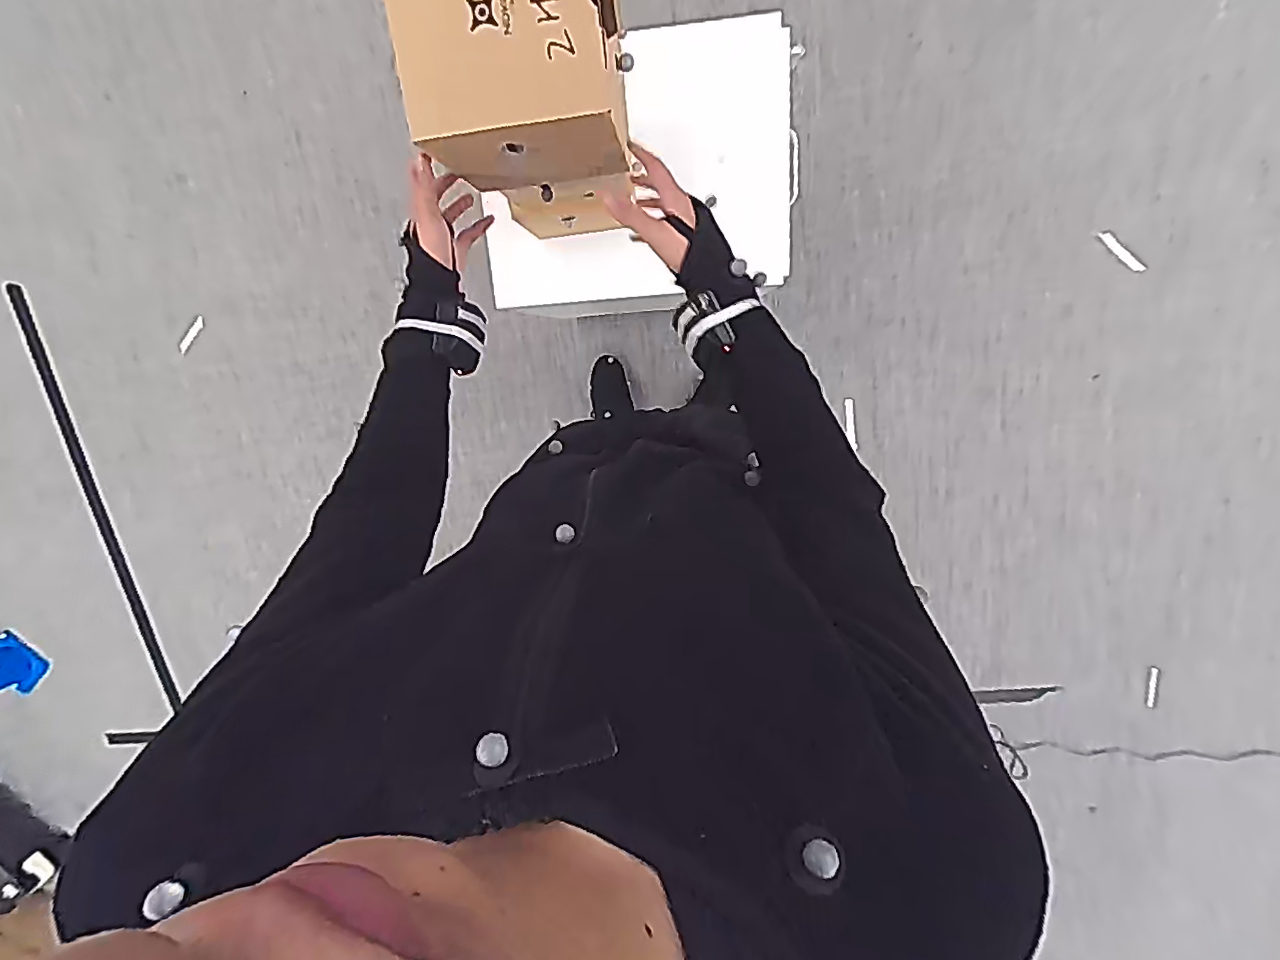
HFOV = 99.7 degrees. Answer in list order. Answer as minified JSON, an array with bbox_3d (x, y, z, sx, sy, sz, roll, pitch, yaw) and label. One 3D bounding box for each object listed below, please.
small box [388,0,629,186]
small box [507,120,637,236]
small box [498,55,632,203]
[{"bbox_3d":[-0.111,-0.396,0.512,0.179,0.176,0.168,-5,105,5],"label":"small box"},{"bbox_3d":[-0.103,-0.483,0.827,0.179,0.176,0.168,-6,105,5],"label":"small box"},{"bbox_3d":[-0.103,-0.455,0.666,0.168,0.176,0.179,-5,104,5],"label":"small box"}]
